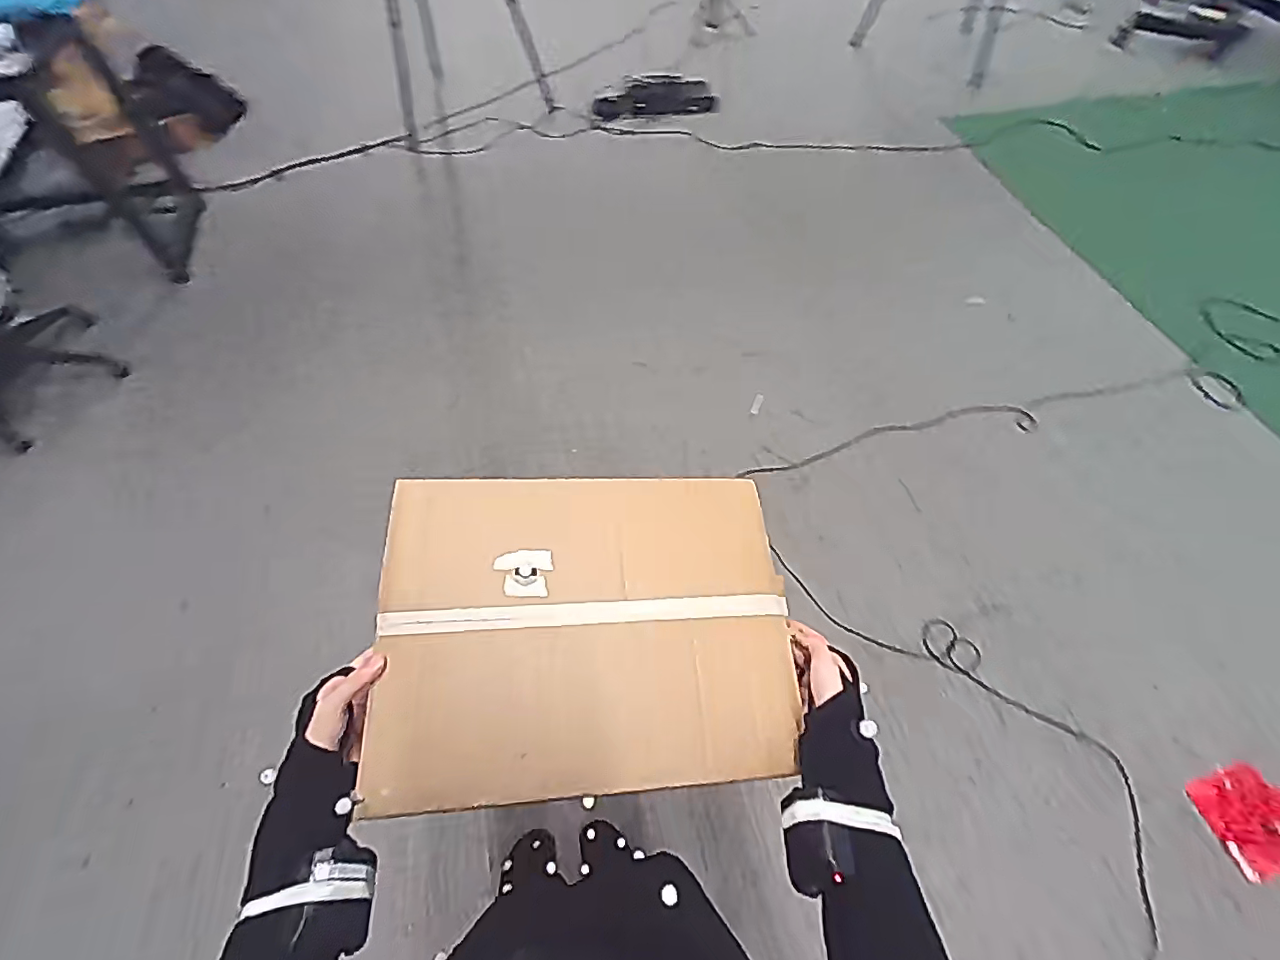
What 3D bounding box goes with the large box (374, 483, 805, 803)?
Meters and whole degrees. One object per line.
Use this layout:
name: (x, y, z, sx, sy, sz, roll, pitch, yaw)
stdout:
large box: (-0.062, 0.207, 0.691, 0.408, 0.320, 0.320, 1, 63, -8)
